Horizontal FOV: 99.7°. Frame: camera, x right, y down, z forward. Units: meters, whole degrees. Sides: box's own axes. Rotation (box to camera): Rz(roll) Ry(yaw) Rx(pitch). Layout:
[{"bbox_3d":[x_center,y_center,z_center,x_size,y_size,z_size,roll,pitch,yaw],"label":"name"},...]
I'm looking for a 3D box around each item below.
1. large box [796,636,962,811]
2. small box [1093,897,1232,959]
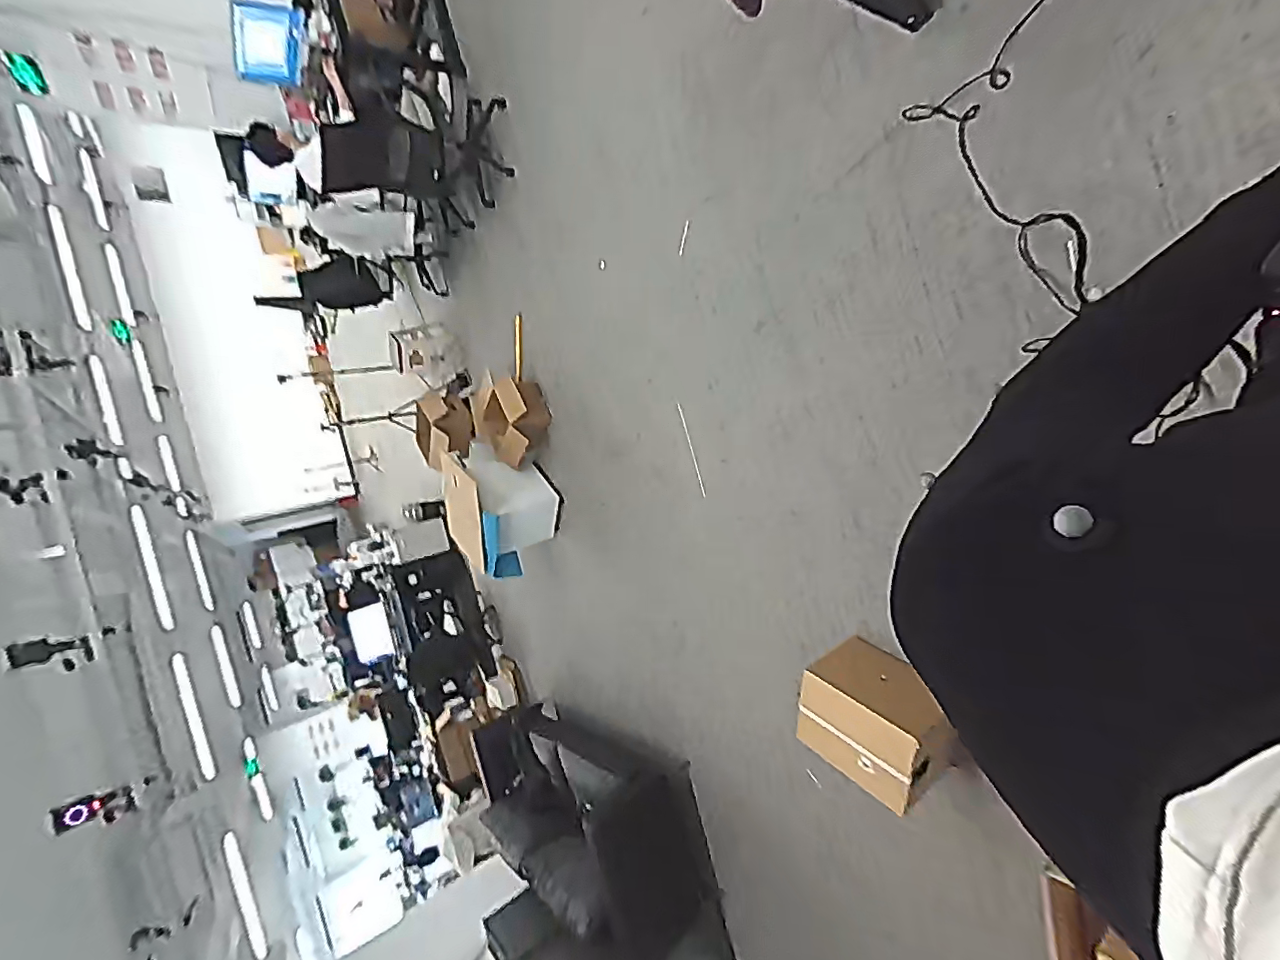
[{"bbox_3d":[0.800,0.799,1.846,0.408,0.320,0.320,22,121,48],"label":"large box"},{"bbox_3d":[0.993,0.960,1.024,0.168,0.176,0.179,0,101,54],"label":"small box"}]
